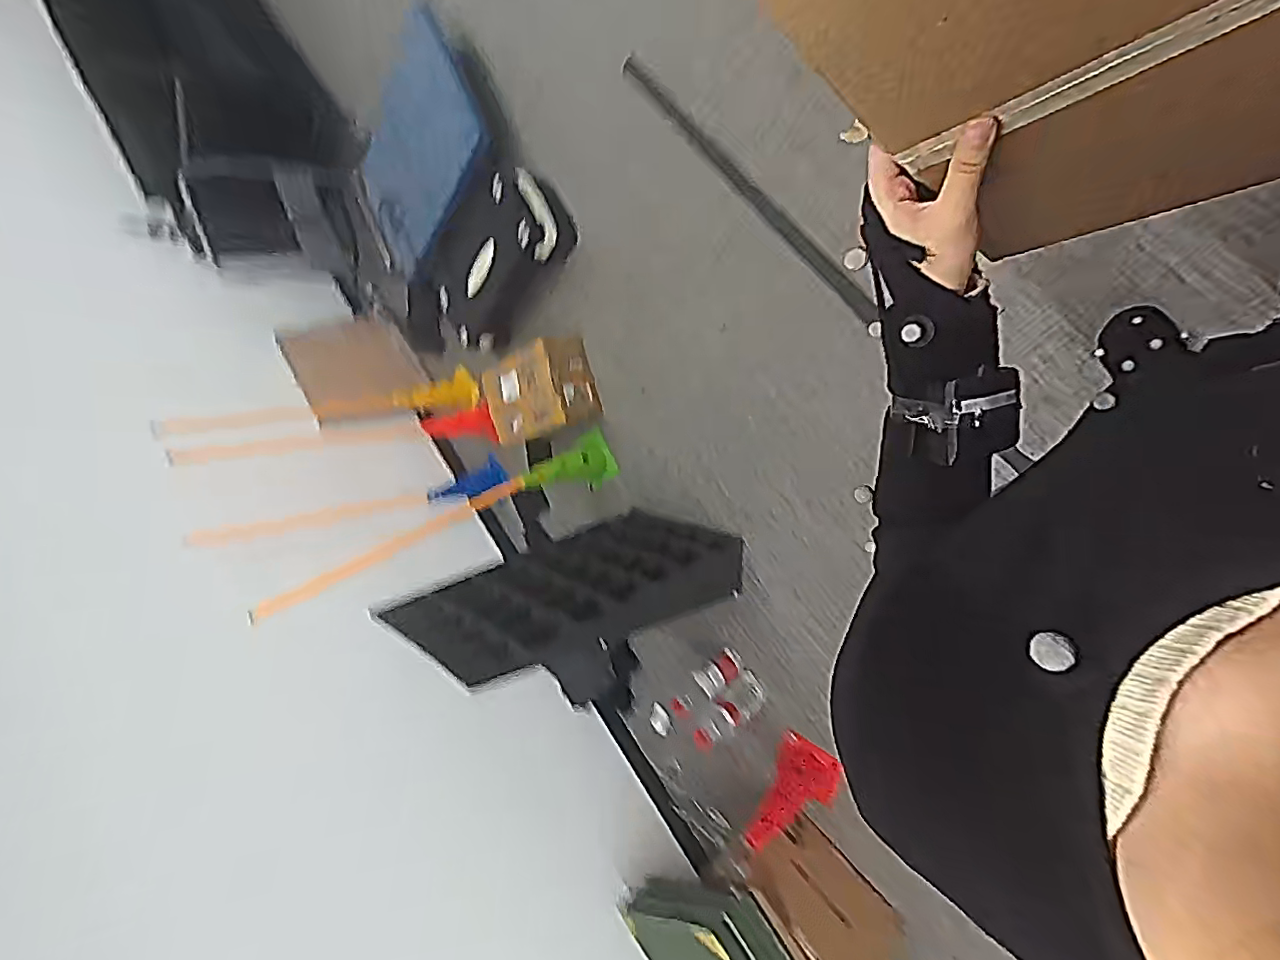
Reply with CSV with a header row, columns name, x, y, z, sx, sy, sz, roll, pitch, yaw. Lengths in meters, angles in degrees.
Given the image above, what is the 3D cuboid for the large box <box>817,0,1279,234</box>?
name,x,y,z,sx,sy,sz,roll,pitch,yaw
large box,0.295,-0.356,0.171,0.408,0.320,0.320,-1,81,51
